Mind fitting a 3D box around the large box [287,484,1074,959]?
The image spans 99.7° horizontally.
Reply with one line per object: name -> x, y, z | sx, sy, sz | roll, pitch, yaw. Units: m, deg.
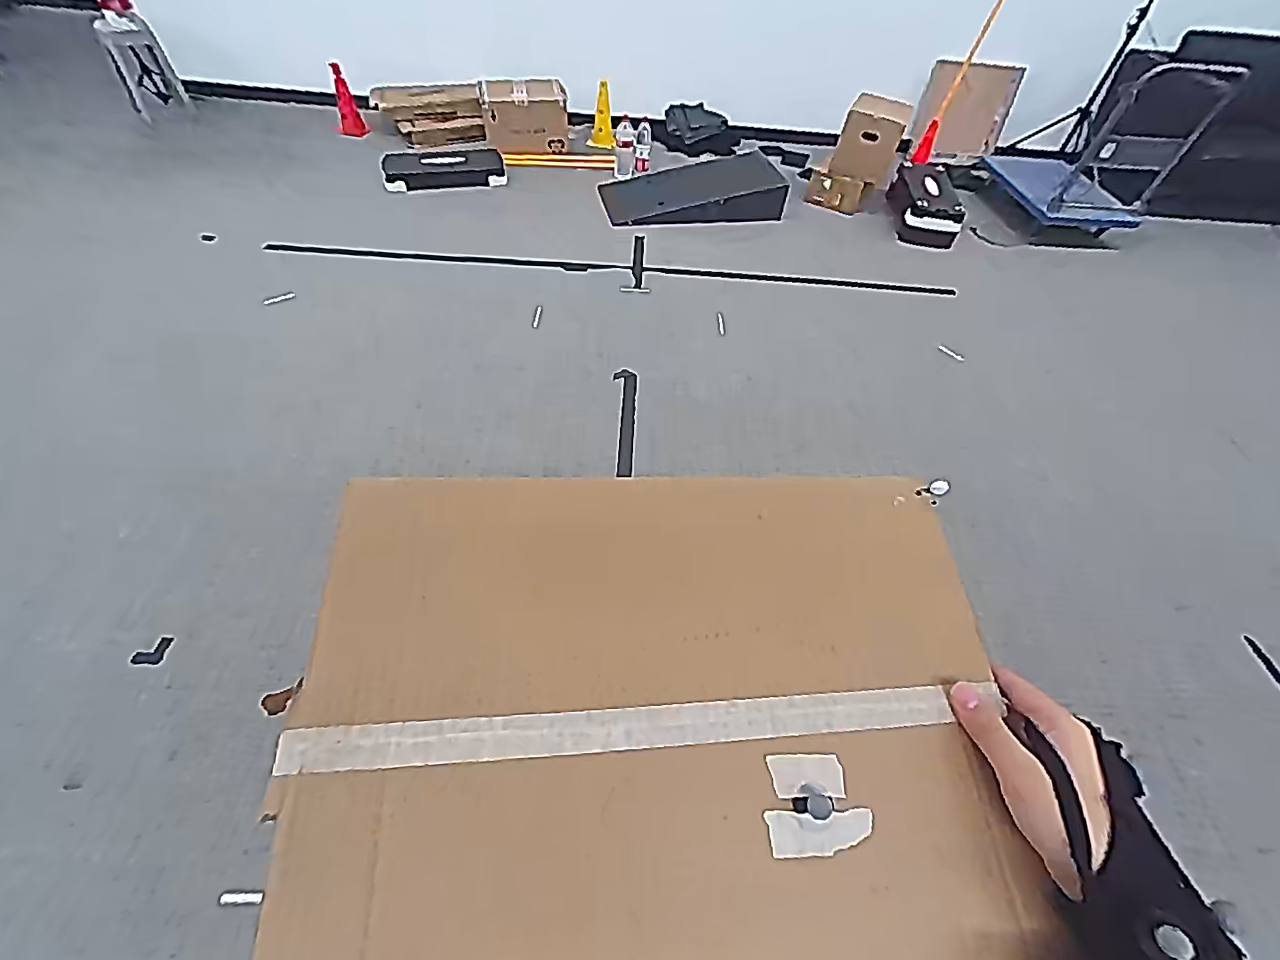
large box -> 0.004, 0.210, 0.448 | 0.408, 0.320, 0.320 | 0, 63, -9
